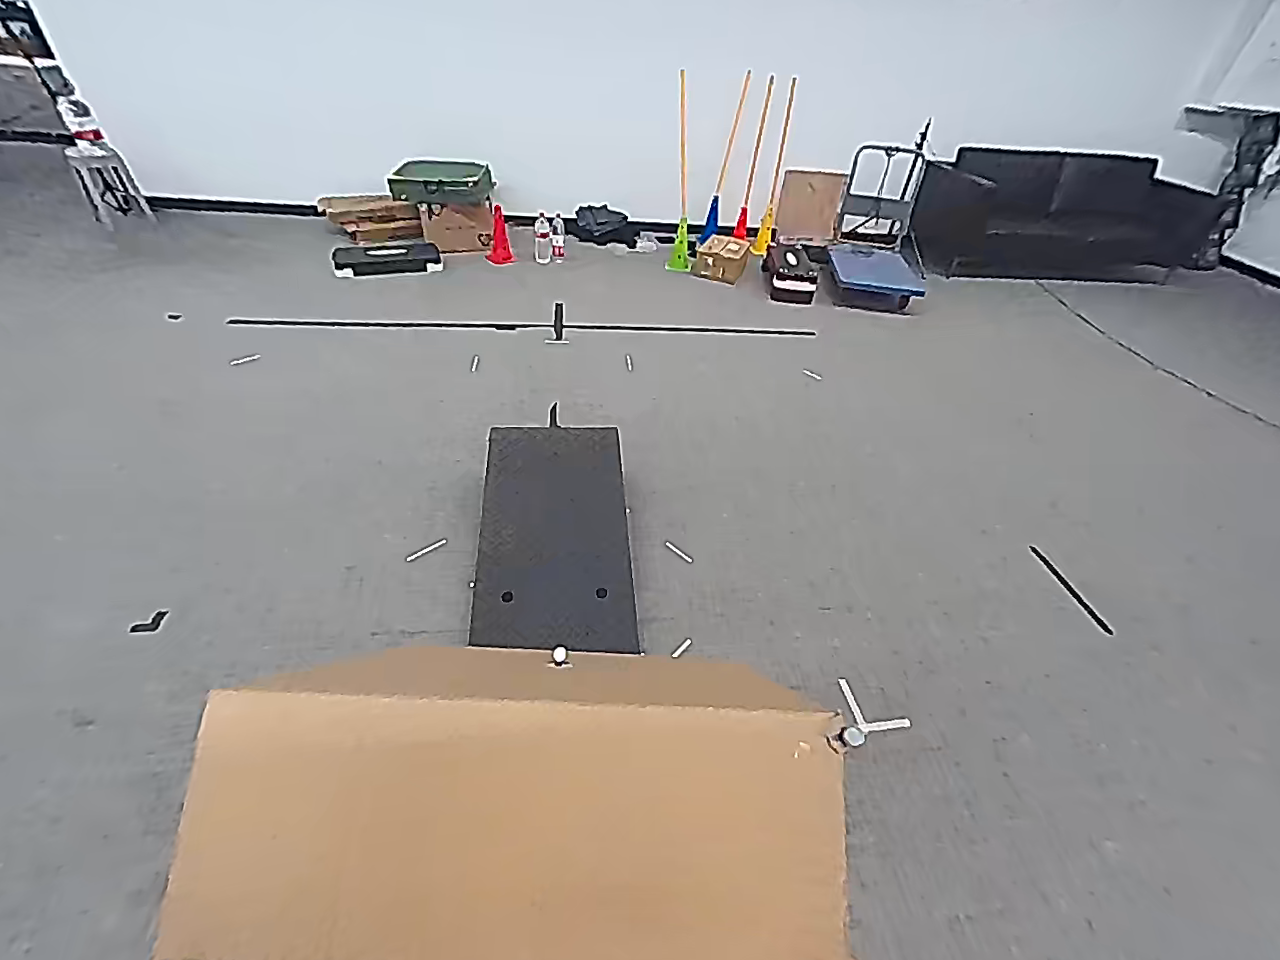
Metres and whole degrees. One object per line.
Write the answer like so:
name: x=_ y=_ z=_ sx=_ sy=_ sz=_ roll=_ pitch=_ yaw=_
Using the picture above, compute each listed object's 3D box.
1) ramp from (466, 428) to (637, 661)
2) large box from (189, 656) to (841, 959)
ramp: x=-0.287 y=0.198 z=1.794 sx=0.509 sy=0.206 sz=0.991 roll=-1 pitch=42 yaw=-10
large box: x=-0.081 y=0.331 z=0.473 sx=0.408 sy=0.320 sz=0.320 roll=3 pitch=79 yaw=-2
